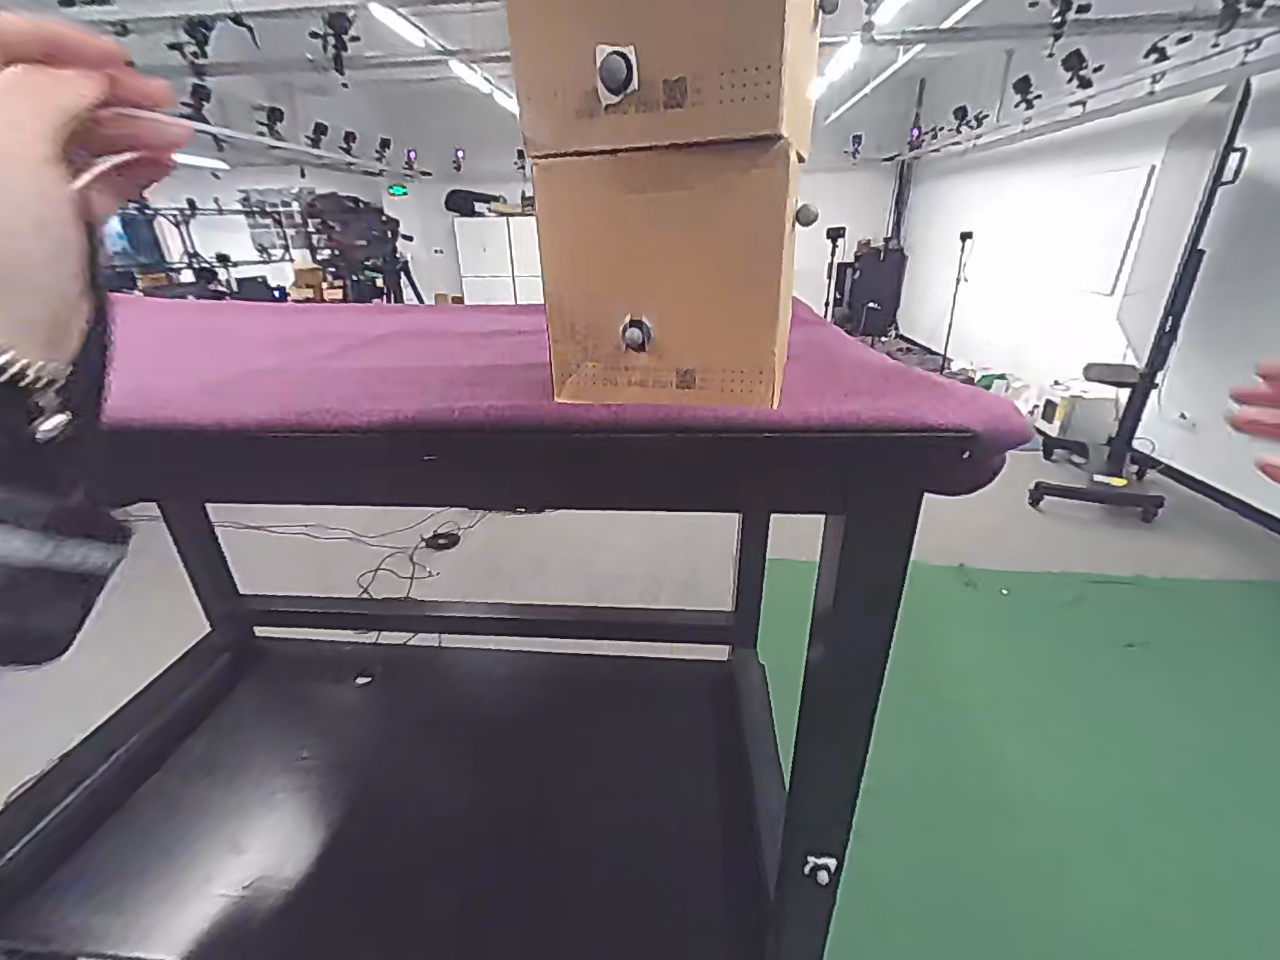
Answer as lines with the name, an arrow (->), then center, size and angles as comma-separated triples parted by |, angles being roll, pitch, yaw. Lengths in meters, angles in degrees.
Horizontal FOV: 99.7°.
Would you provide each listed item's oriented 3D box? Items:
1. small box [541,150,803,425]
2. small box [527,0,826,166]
small box -> 0.036, -0.154, 0.433 | 0.168, 0.176, 0.179 | 5, 27, 14
small box -> 0.031, -0.298, 0.357 | 0.168, 0.176, 0.179 | 6, 28, 18
